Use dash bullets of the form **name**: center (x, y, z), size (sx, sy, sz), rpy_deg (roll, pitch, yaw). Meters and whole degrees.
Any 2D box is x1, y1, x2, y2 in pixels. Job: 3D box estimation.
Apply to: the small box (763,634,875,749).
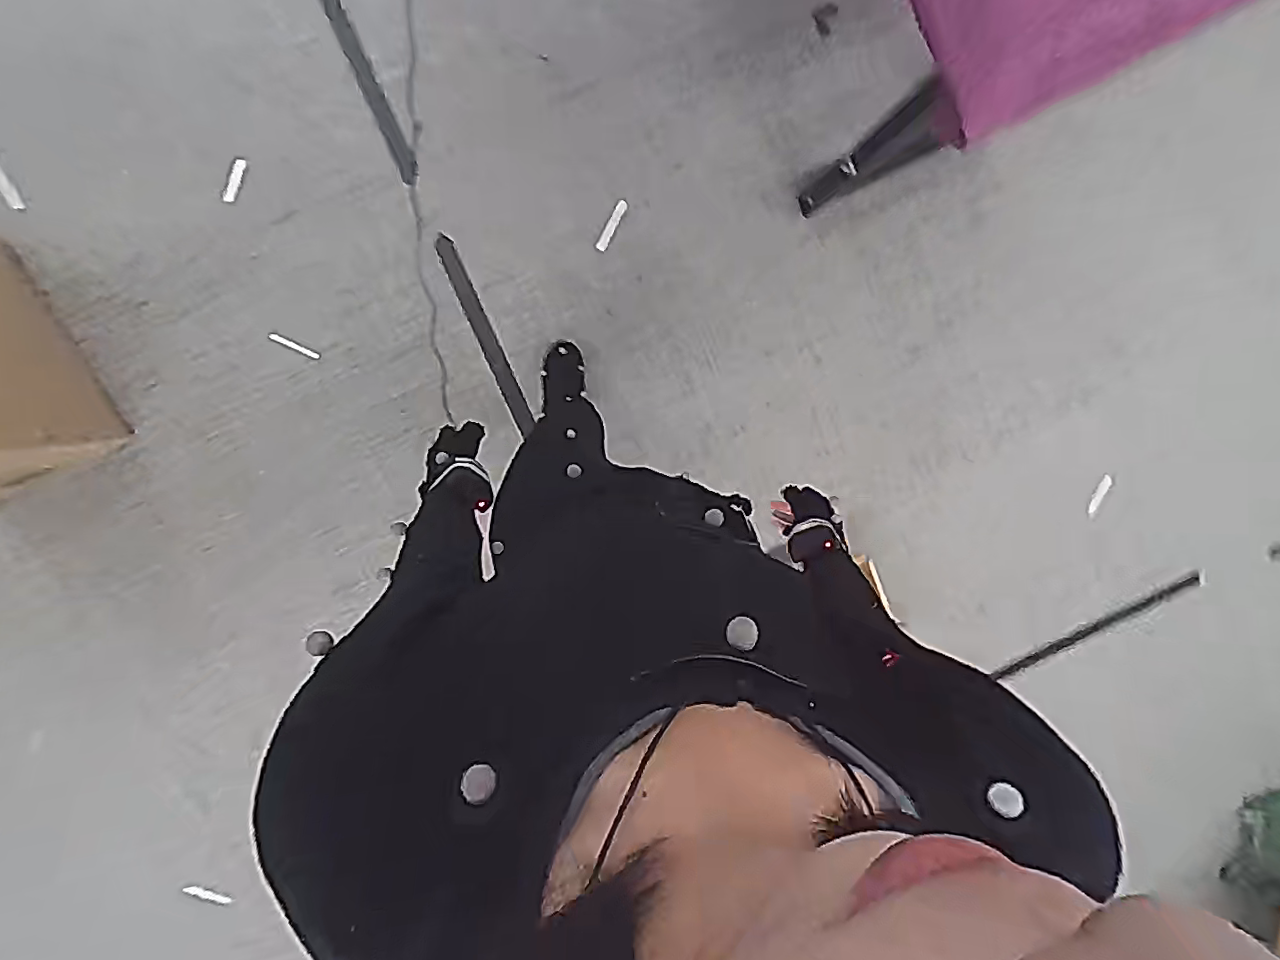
- **small box**: center (0.427, 0.501, 1.318), size (0.168, 0.176, 0.179), rpy_deg (-31, 102, 1)
